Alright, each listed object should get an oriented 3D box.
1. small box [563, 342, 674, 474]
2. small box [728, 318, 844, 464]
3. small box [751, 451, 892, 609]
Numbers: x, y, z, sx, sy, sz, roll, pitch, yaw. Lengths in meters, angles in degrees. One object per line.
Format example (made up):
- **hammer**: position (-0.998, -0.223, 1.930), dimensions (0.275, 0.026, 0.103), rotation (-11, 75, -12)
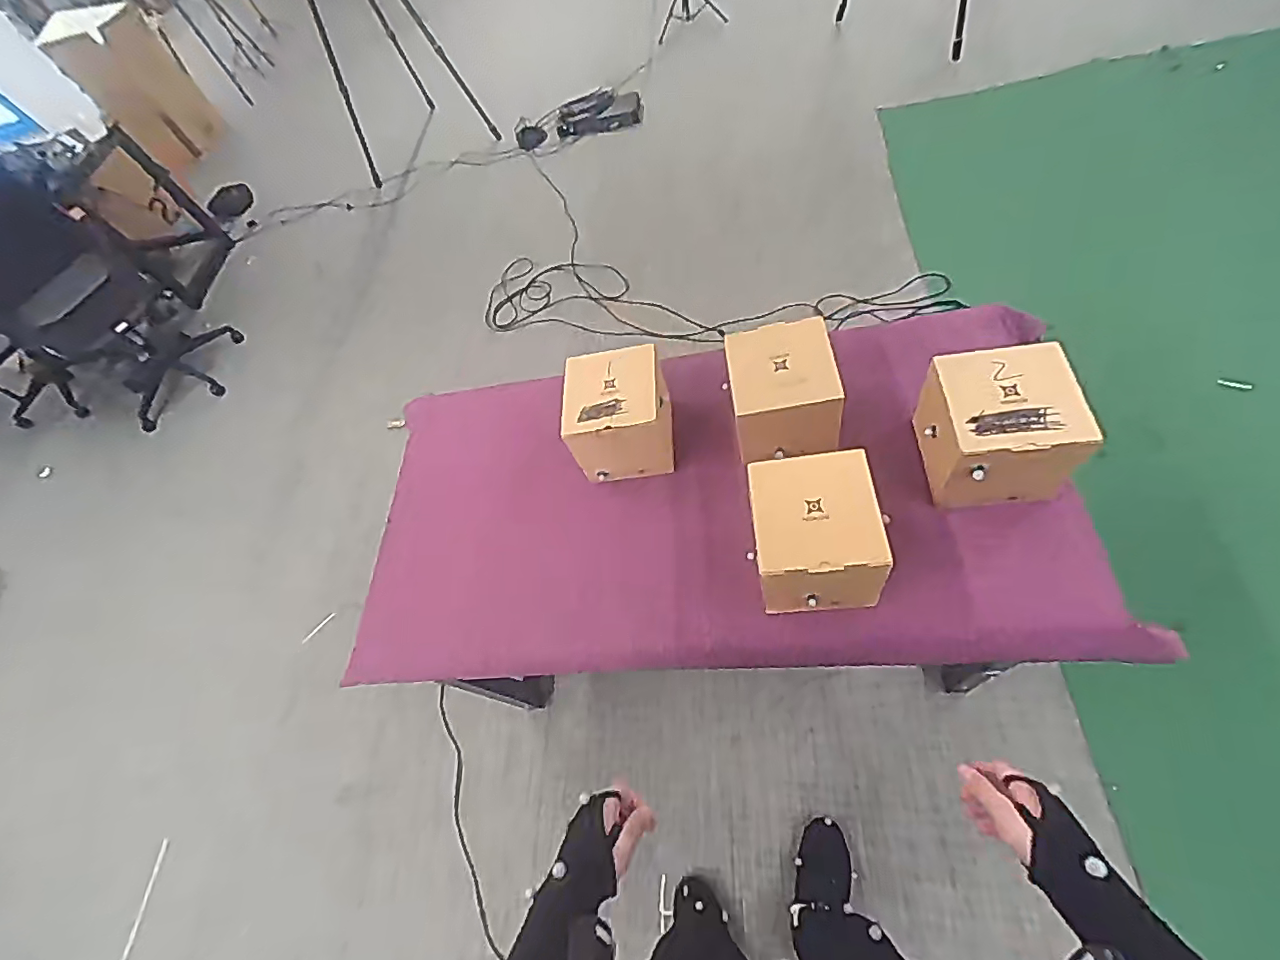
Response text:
- **small box**: position (-0.032, -0.121, 0.992), dimensions (0.168, 0.176, 0.179), rotation (-6, 59, 11)
- **small box**: position (0.246, -0.148, 0.937), dimensions (0.168, 0.176, 0.179), rotation (-7, 61, 11)
- **small box**: position (0.256, 0.079, 0.803), dimensions (0.168, 0.176, 0.179), rotation (-6, 59, 11)
